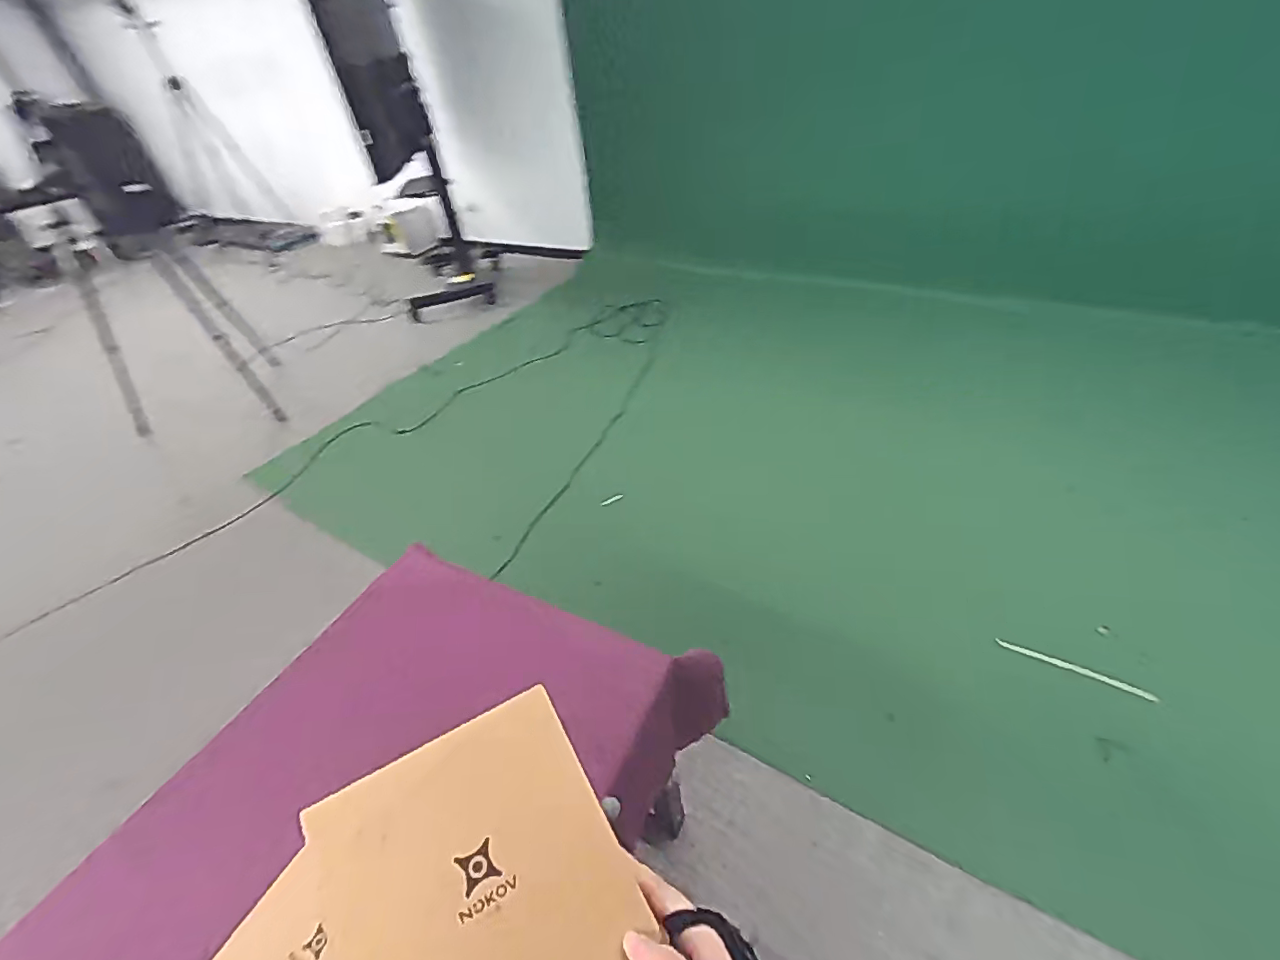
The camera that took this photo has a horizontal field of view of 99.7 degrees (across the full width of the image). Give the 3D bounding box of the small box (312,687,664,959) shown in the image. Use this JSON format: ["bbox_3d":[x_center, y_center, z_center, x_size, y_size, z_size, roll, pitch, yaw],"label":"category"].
[{"bbox_3d":[-0.109,0.289,0.393,0.168,0.176,0.179,-20,60,-25],"label":"small box"}]
